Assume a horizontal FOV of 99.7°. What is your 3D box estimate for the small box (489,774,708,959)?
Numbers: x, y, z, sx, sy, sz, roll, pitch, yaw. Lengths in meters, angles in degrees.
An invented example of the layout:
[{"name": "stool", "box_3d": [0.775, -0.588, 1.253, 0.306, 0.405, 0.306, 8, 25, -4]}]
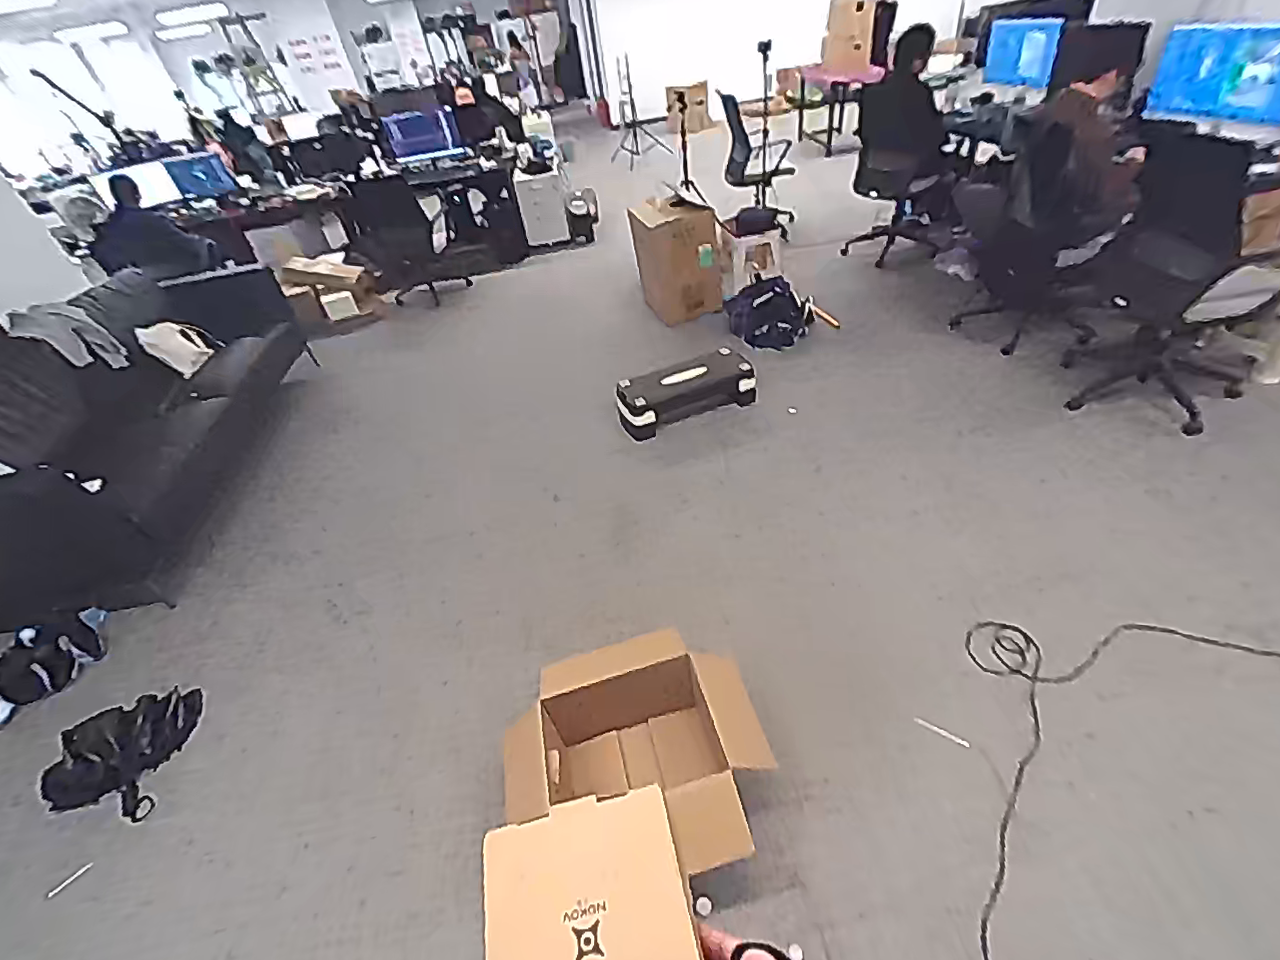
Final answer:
[{"name": "small box", "box_3d": [-0.032, 0.405, 0.496, 0.168, 0.176, 0.179, -15, 47, -3]}]
